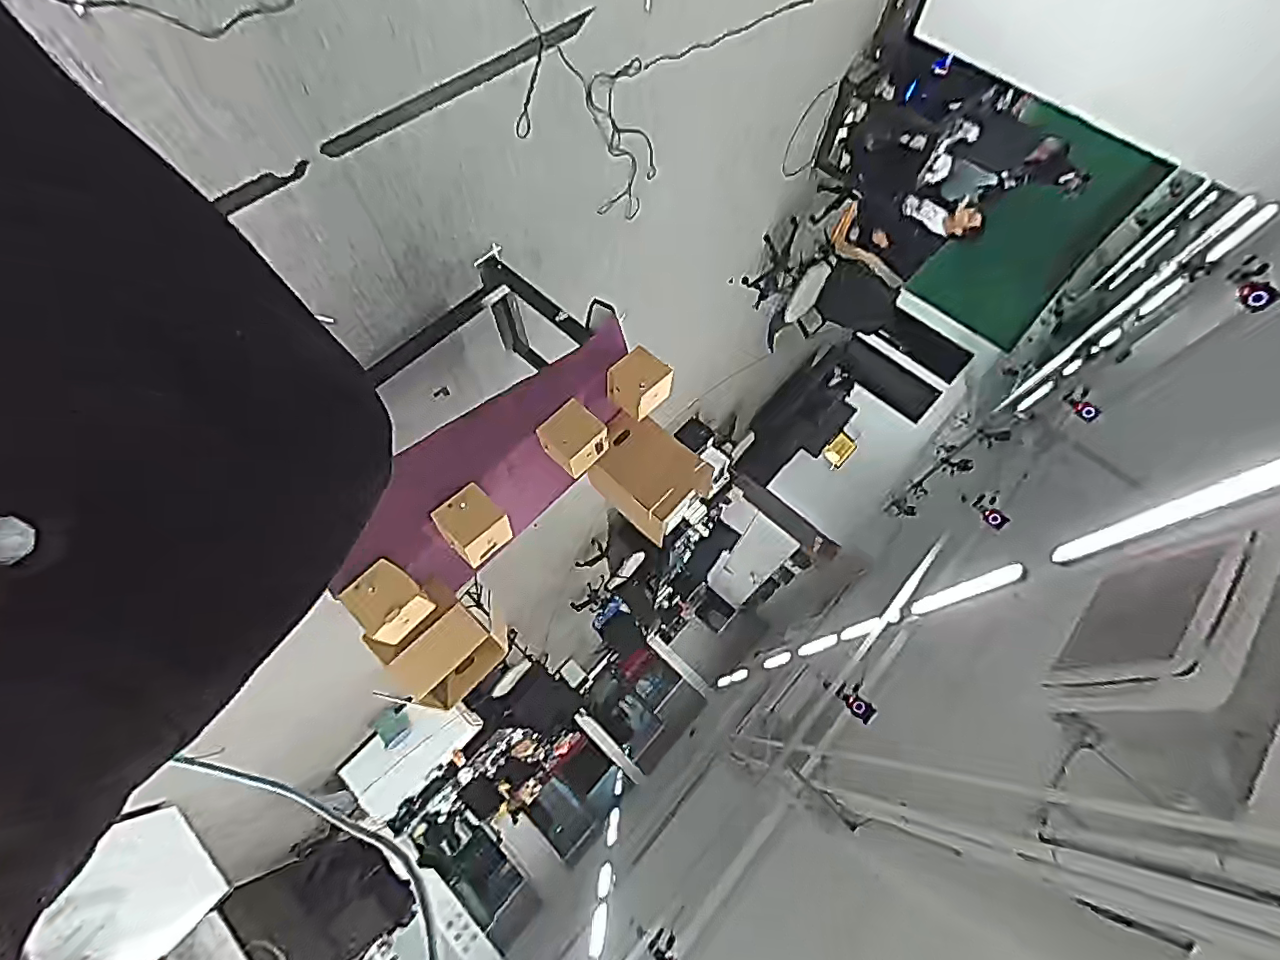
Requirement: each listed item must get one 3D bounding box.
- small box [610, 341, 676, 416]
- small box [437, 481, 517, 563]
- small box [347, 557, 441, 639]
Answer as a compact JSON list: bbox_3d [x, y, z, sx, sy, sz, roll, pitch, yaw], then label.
[{"bbox_3d":[0.009,-0.381,2.007,0.179,0.176,0.168,-43,164,-19],"label":"small box"},{"bbox_3d":[-0.523,0.133,1.746,0.168,0.176,0.179,-43,162,-24],"label":"small box"},{"bbox_3d":[-0.747,0.360,1.650,0.168,0.176,0.179,-46,165,-18],"label":"small box"}]
